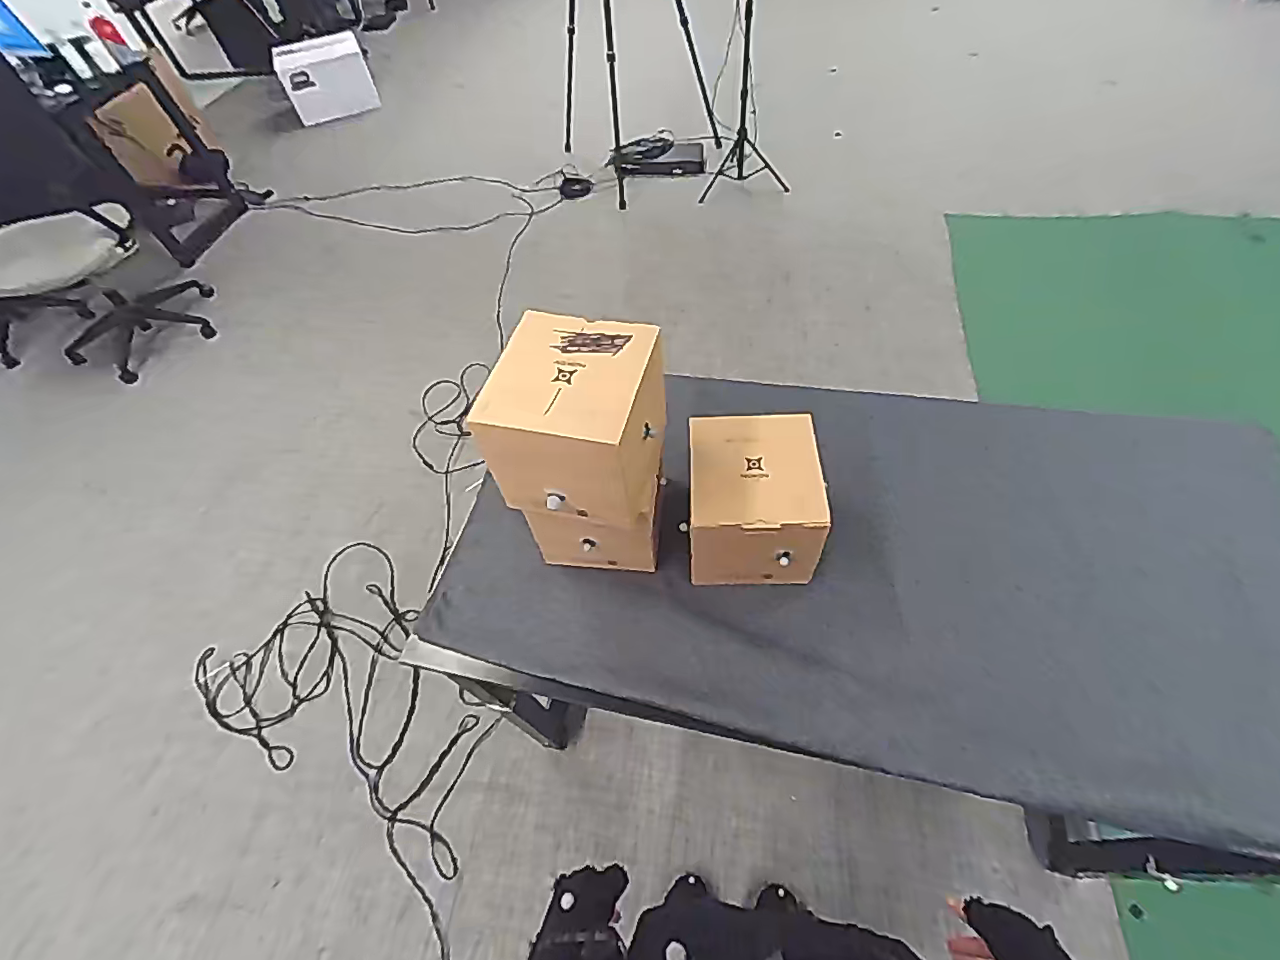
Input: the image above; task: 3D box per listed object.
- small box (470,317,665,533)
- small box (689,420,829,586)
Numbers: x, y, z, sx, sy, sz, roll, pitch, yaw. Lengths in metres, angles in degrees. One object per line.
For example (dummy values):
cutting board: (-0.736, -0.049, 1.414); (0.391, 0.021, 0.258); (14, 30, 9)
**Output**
small box: (-0.069, -0.063, 0.641); (0.168, 0.176, 0.179); (10, 57, 12)
small box: (0.152, 0.037, 0.750); (0.168, 0.176, 0.179); (-1, 54, 4)
